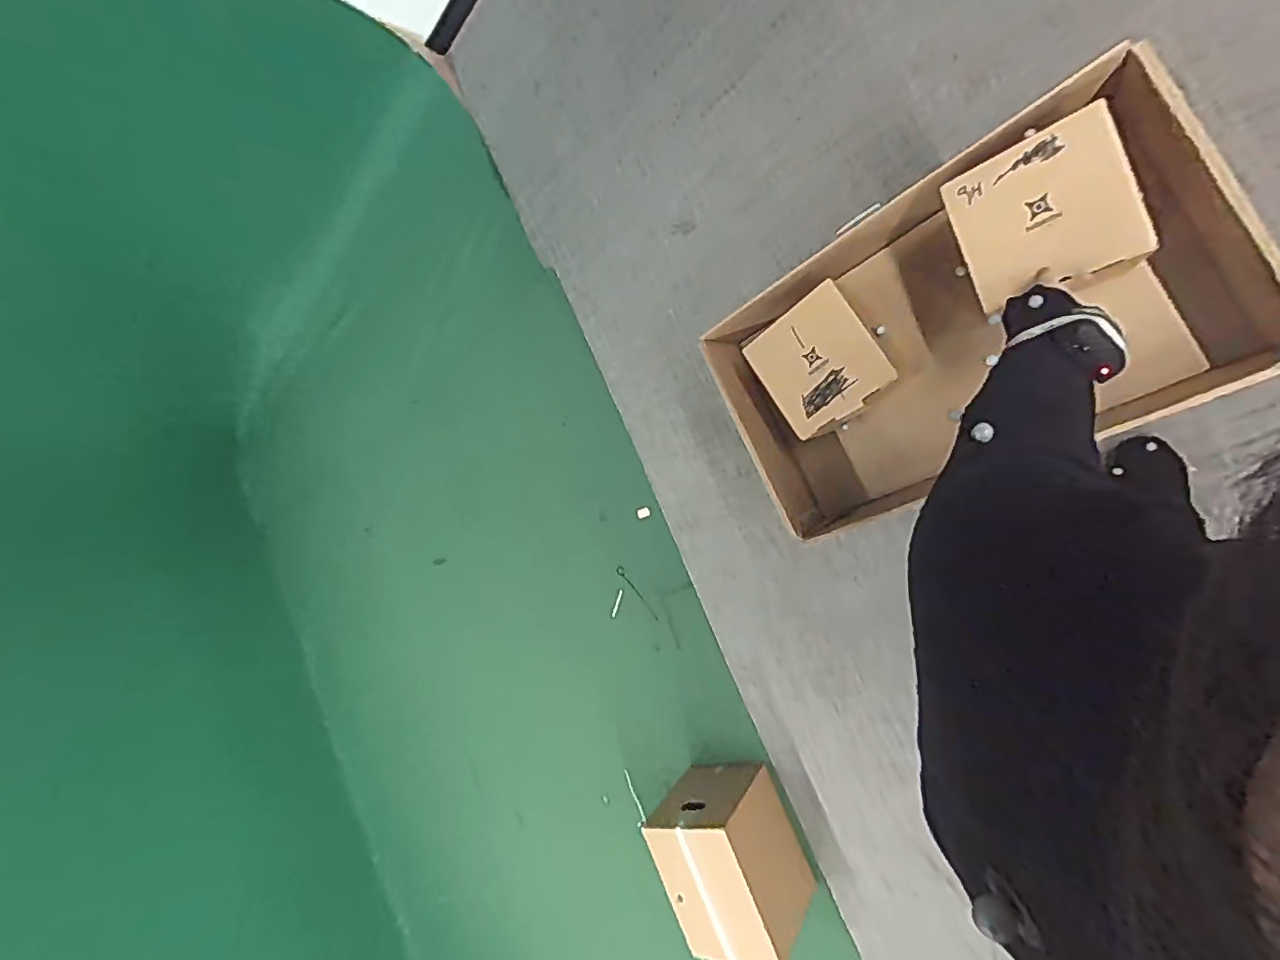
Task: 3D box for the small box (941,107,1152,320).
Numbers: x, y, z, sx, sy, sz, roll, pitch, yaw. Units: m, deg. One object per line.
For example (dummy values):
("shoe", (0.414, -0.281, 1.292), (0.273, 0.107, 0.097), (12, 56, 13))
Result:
("small box", (0.512, -0.320, 0.695), (0.168, 0.176, 0.179), (-20, 89, 36))
